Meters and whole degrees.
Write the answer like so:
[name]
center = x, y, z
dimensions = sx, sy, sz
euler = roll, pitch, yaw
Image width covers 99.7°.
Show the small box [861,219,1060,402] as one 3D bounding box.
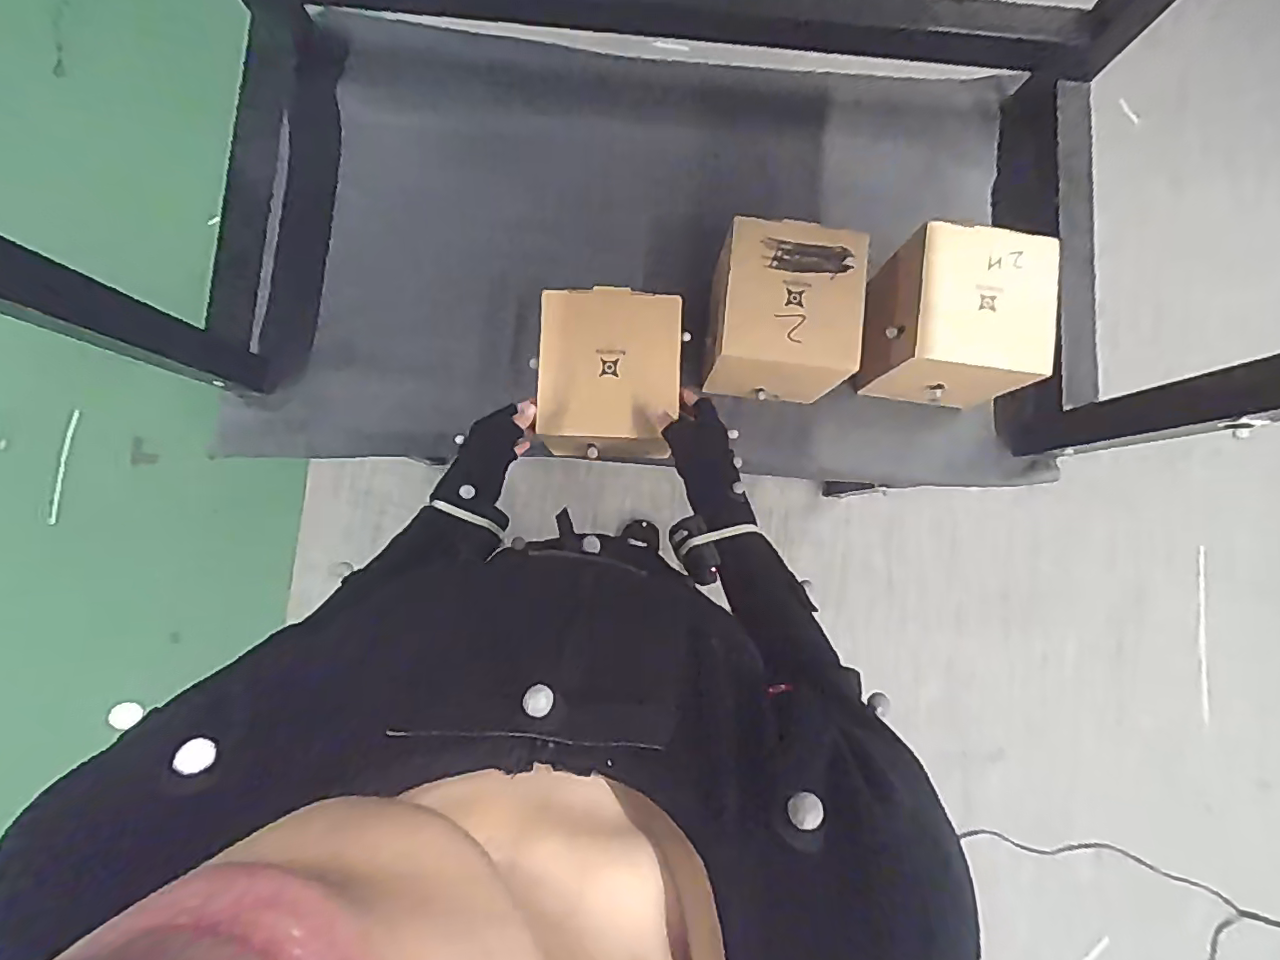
[small box]
center = 0.414, -0.212, 0.725
dimensions = 0.168, 0.176, 0.179
euler = 8, 84, -1
